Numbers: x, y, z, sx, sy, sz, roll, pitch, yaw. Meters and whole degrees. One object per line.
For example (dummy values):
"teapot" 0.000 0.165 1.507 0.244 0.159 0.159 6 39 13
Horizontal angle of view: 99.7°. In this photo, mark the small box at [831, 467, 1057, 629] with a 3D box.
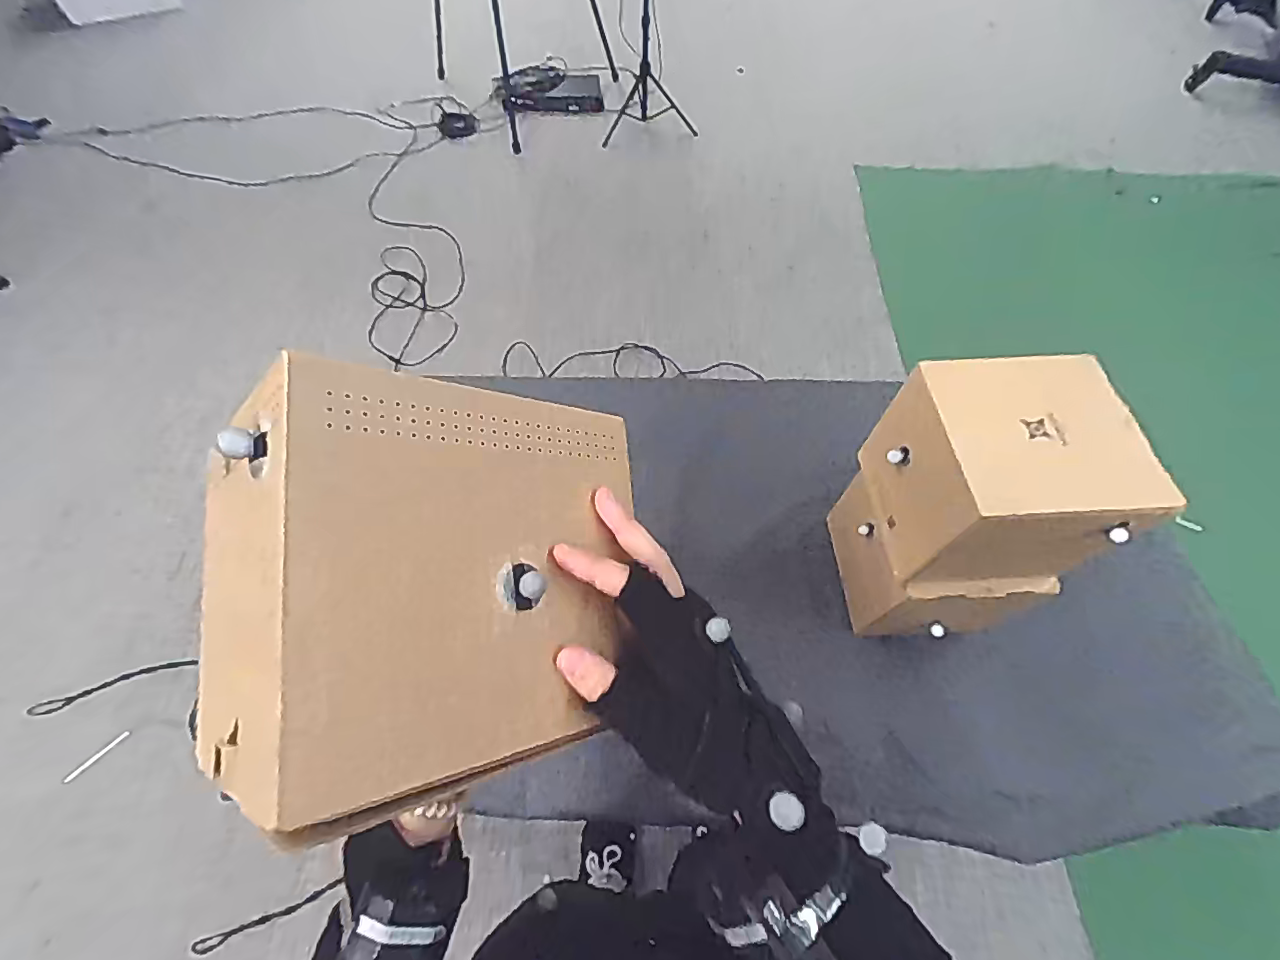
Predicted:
"small box" 0.359 0.079 0.683 0.168 0.176 0.179 -2 61 -2

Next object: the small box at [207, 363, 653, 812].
"small box" -0.116 0.048 0.302 0.179 0.168 0.176 5 76 -44

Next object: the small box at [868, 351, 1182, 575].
"small box" 0.352 -0.009 0.546 0.179 0.176 0.168 -3 61 -3
